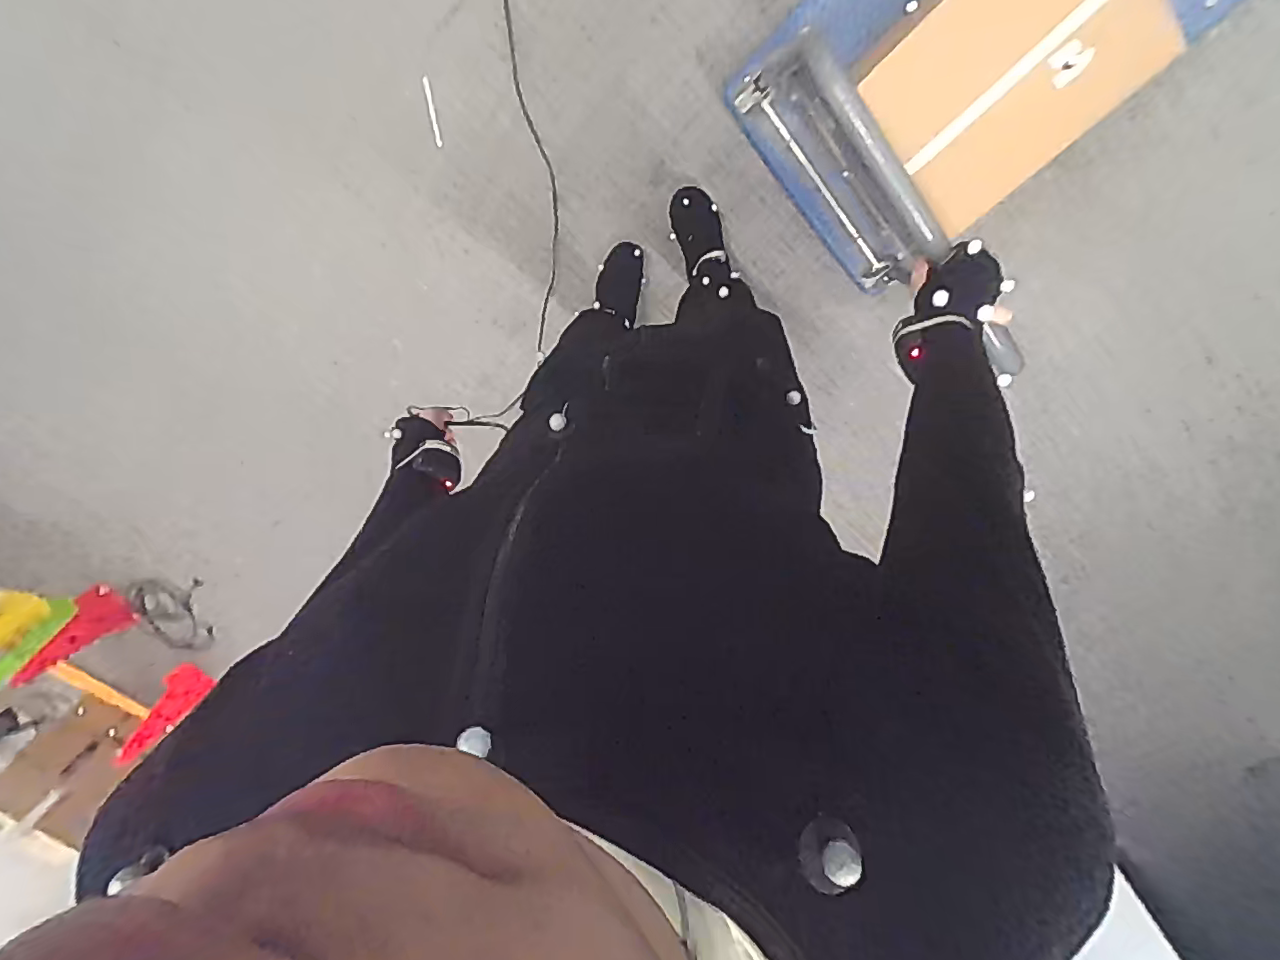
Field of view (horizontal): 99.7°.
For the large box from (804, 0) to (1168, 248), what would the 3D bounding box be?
[{"bbox_3d":[0.582,-0.701,0.993,0.408,0.320,0.320,-40,111,20],"label":"large box"}]
